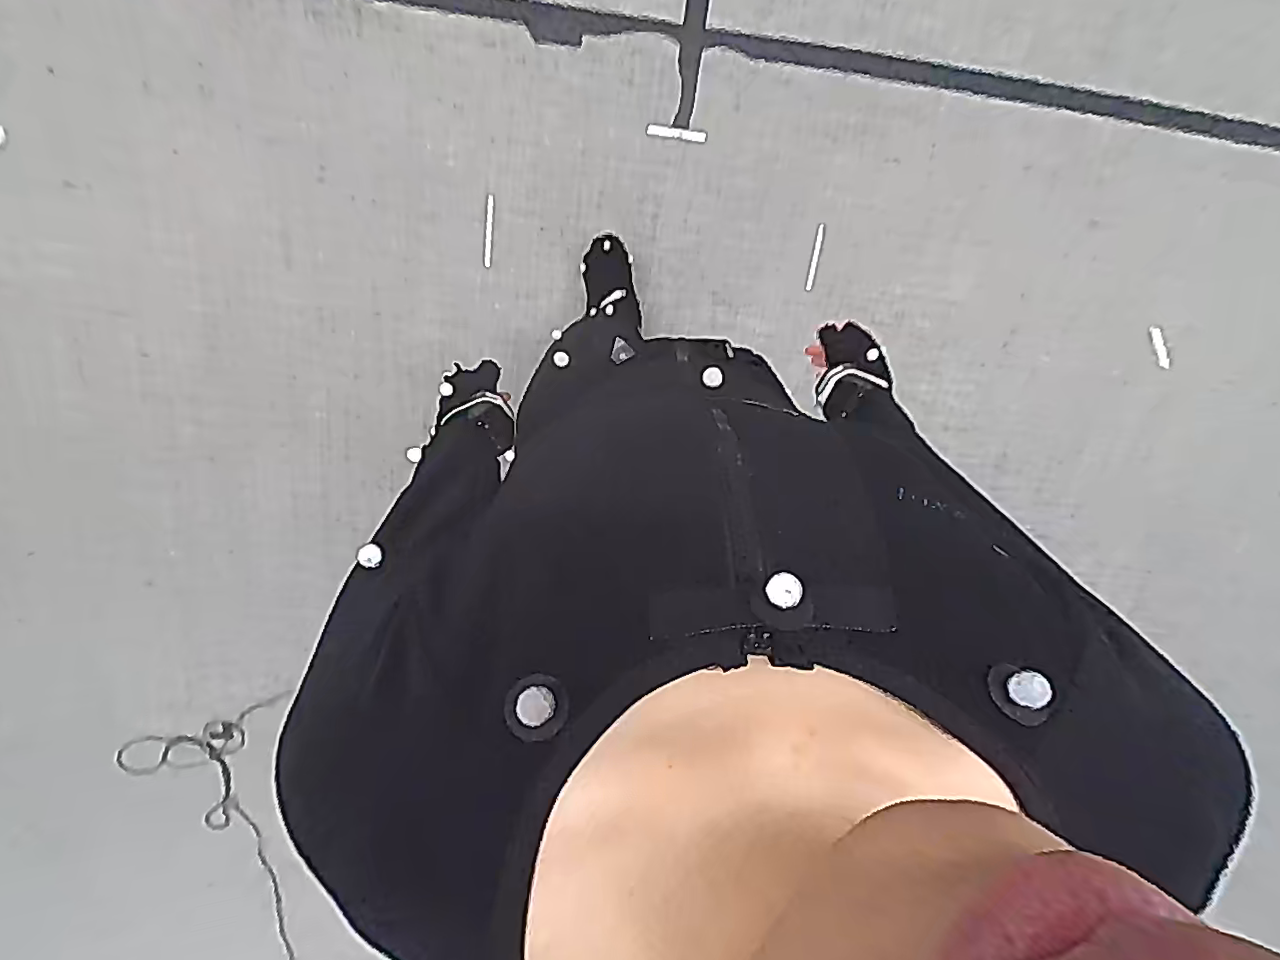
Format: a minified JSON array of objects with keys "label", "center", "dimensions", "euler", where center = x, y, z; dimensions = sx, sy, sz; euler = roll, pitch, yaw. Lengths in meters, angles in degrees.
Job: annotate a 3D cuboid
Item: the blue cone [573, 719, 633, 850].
[{"label":"blue cone","center":[-0.107,0.899,1.586],"dimensions":[0.192,0.380,0.193],"euler":[2,108,-6]}]
